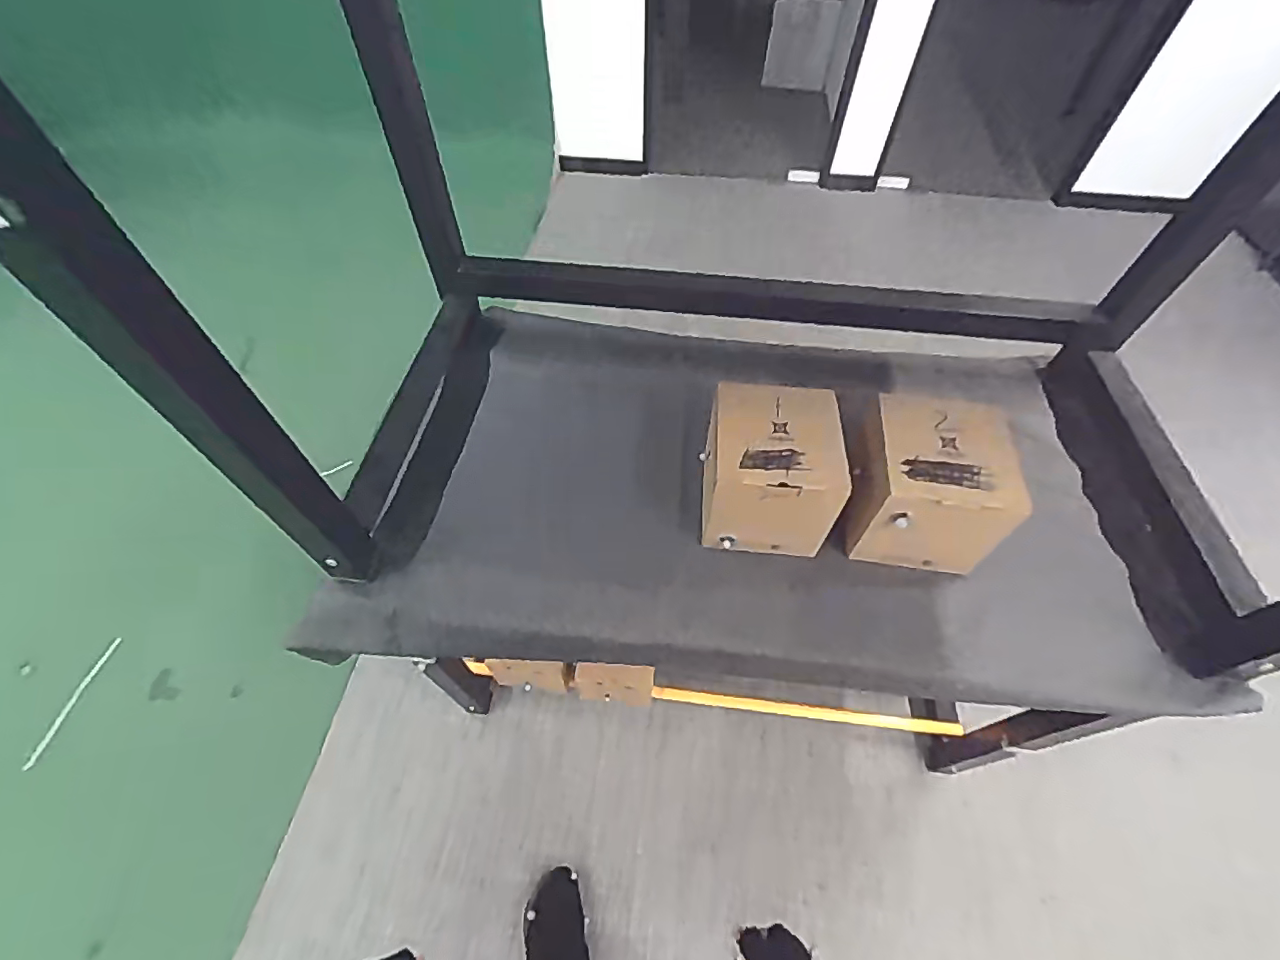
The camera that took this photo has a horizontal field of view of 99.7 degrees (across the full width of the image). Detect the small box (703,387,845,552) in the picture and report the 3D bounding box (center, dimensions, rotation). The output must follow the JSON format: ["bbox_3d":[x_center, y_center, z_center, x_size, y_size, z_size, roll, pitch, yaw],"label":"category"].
[{"bbox_3d":[0.183,-0.011,0.786,0.168,0.176,0.179,5,53,3],"label":"small box"}]
